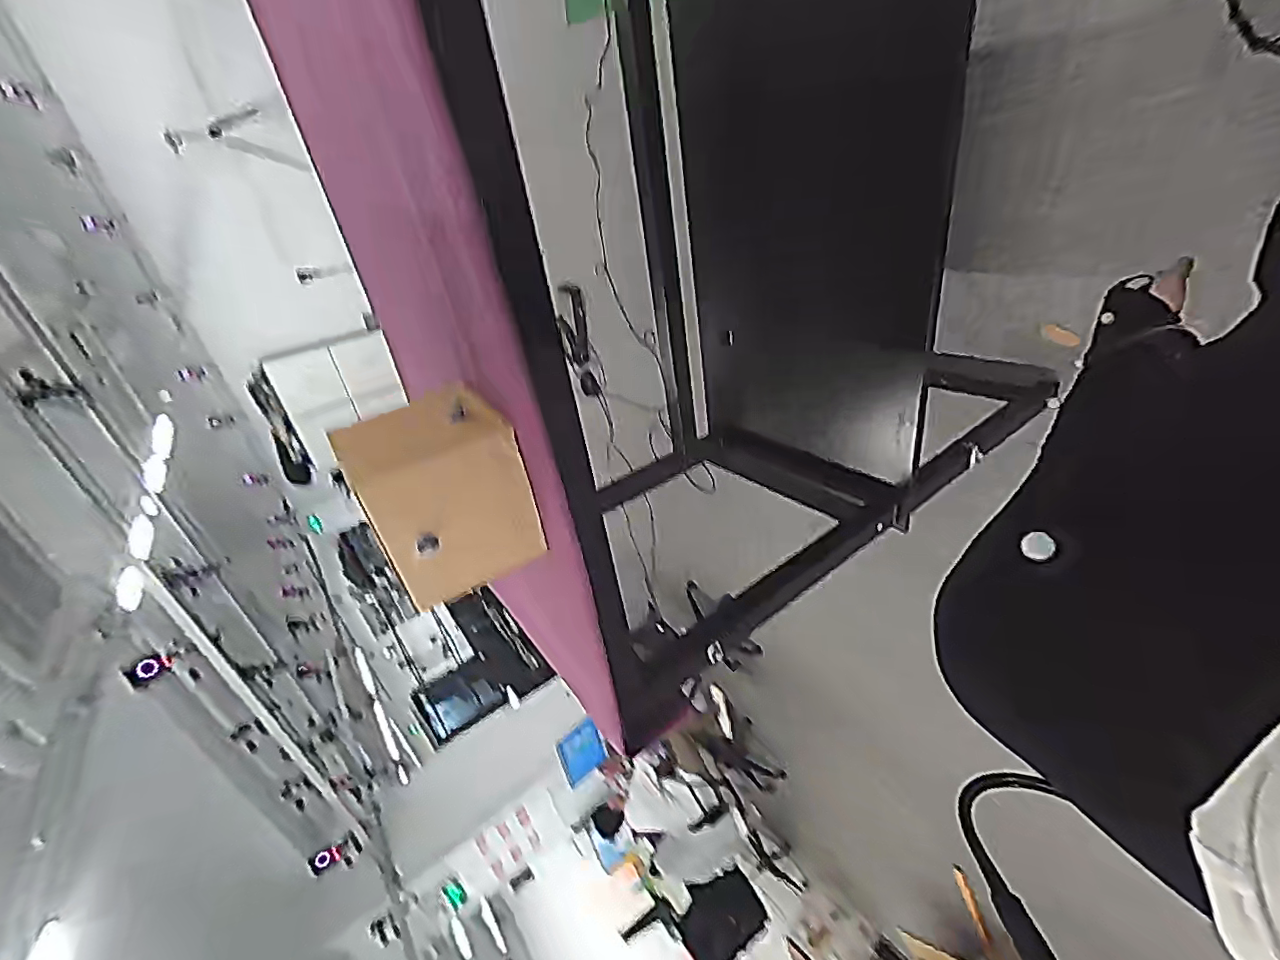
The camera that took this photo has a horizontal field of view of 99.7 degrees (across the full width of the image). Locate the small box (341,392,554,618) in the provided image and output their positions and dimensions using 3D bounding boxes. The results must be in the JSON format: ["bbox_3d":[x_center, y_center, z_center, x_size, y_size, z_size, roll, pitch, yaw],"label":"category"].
[{"bbox_3d":[-0.219,0.020,0.640,0.168,0.176,0.179,34,142,46],"label":"small box"}]
